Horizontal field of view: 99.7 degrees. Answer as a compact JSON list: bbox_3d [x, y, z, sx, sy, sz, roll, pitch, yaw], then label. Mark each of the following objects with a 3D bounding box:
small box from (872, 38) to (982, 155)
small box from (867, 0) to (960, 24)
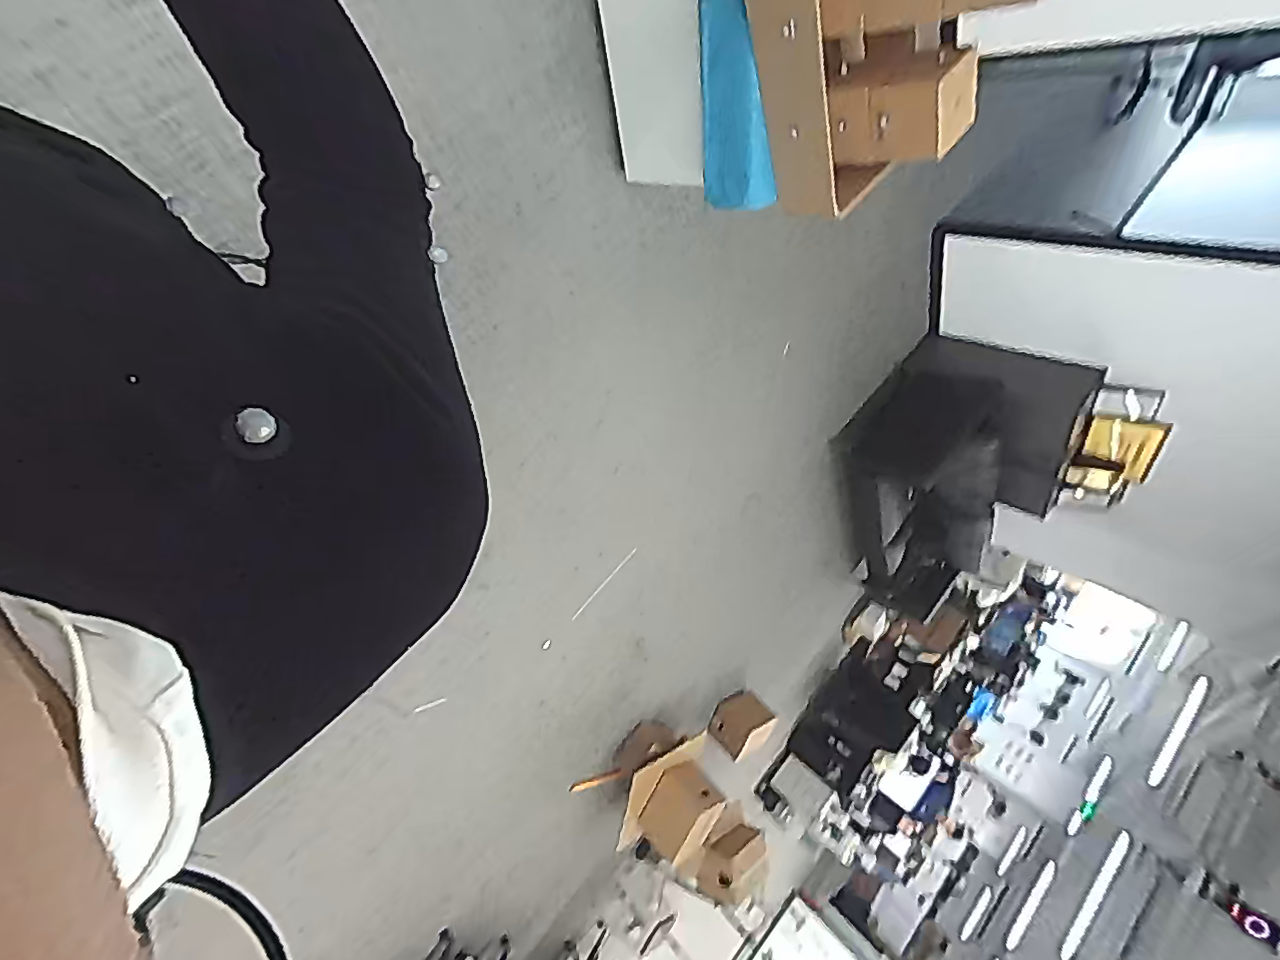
[{"bbox_3d":[0.670,-0.894,1.272,0.179,0.176,0.168,-48,137,-15],"label":"small box"},{"bbox_3d":[0.566,-1.051,1.069,0.168,0.176,0.179,-47,140,-14],"label":"small box"}]
